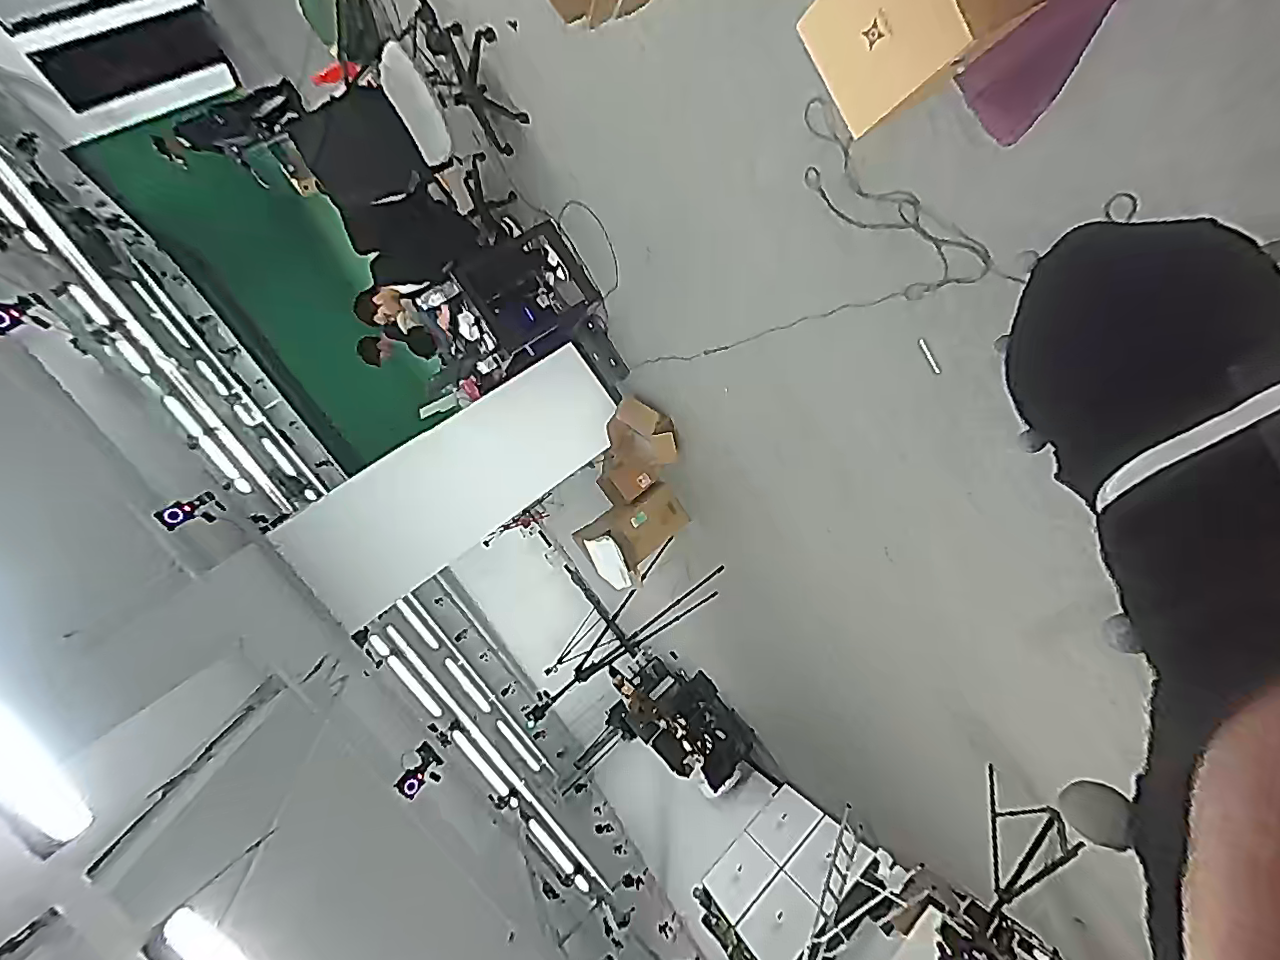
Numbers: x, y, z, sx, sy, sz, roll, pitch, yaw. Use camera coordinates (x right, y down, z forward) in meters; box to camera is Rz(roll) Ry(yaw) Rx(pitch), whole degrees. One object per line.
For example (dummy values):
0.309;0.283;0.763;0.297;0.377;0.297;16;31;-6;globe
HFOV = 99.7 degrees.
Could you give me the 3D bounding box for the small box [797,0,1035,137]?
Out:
0.337;-0.577;0.664;0.168;0.176;0.179;56;160;-10;small box
